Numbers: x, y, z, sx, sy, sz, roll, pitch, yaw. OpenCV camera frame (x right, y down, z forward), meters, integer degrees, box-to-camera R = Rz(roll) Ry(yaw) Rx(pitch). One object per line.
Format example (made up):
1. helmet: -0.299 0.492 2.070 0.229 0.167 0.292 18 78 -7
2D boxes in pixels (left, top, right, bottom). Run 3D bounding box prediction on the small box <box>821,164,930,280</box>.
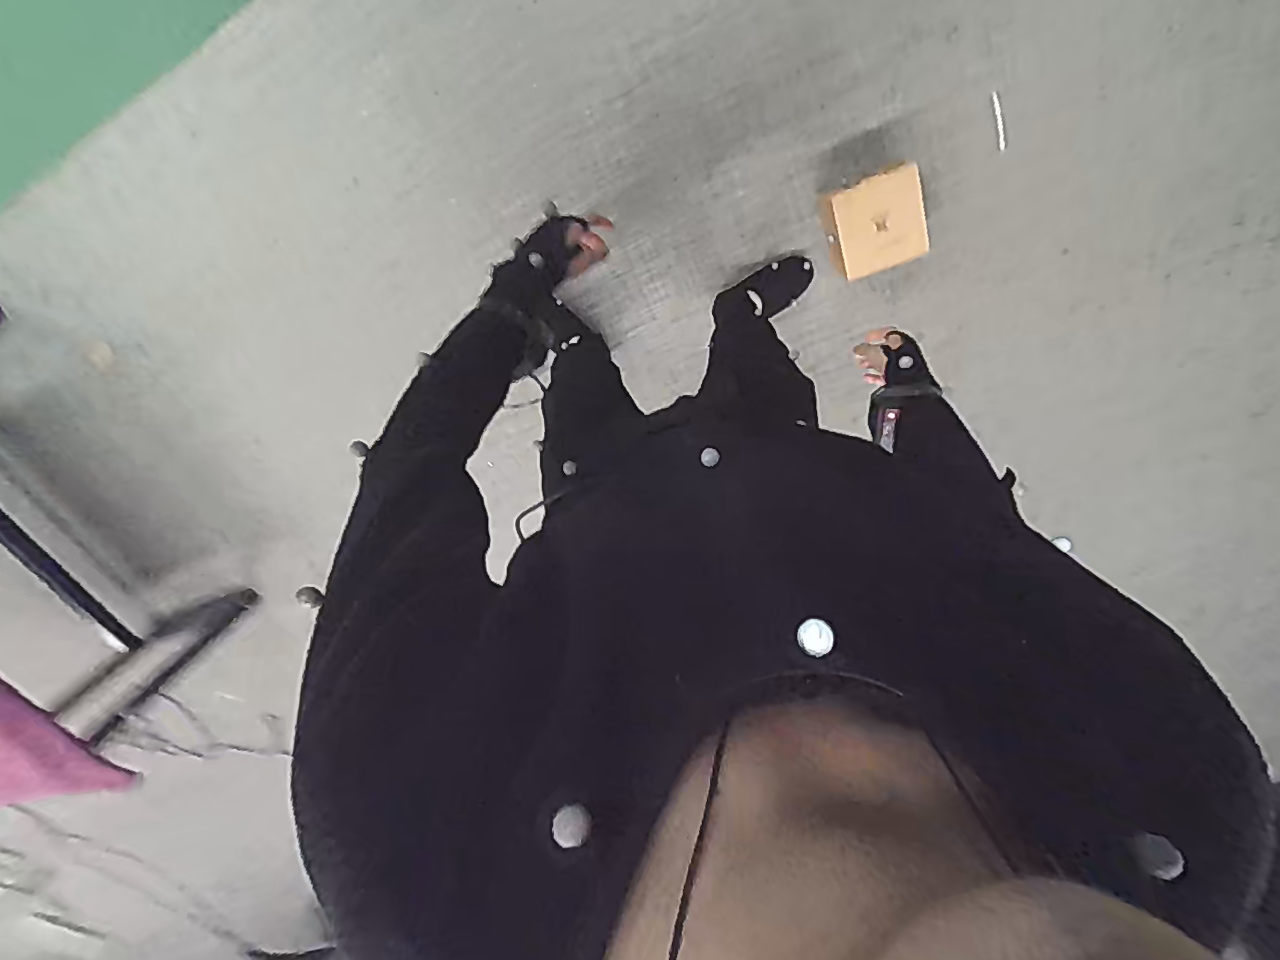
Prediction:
1. small box: 0.497 -0.549 1.157 0.168 0.176 0.179 -15 115 15
